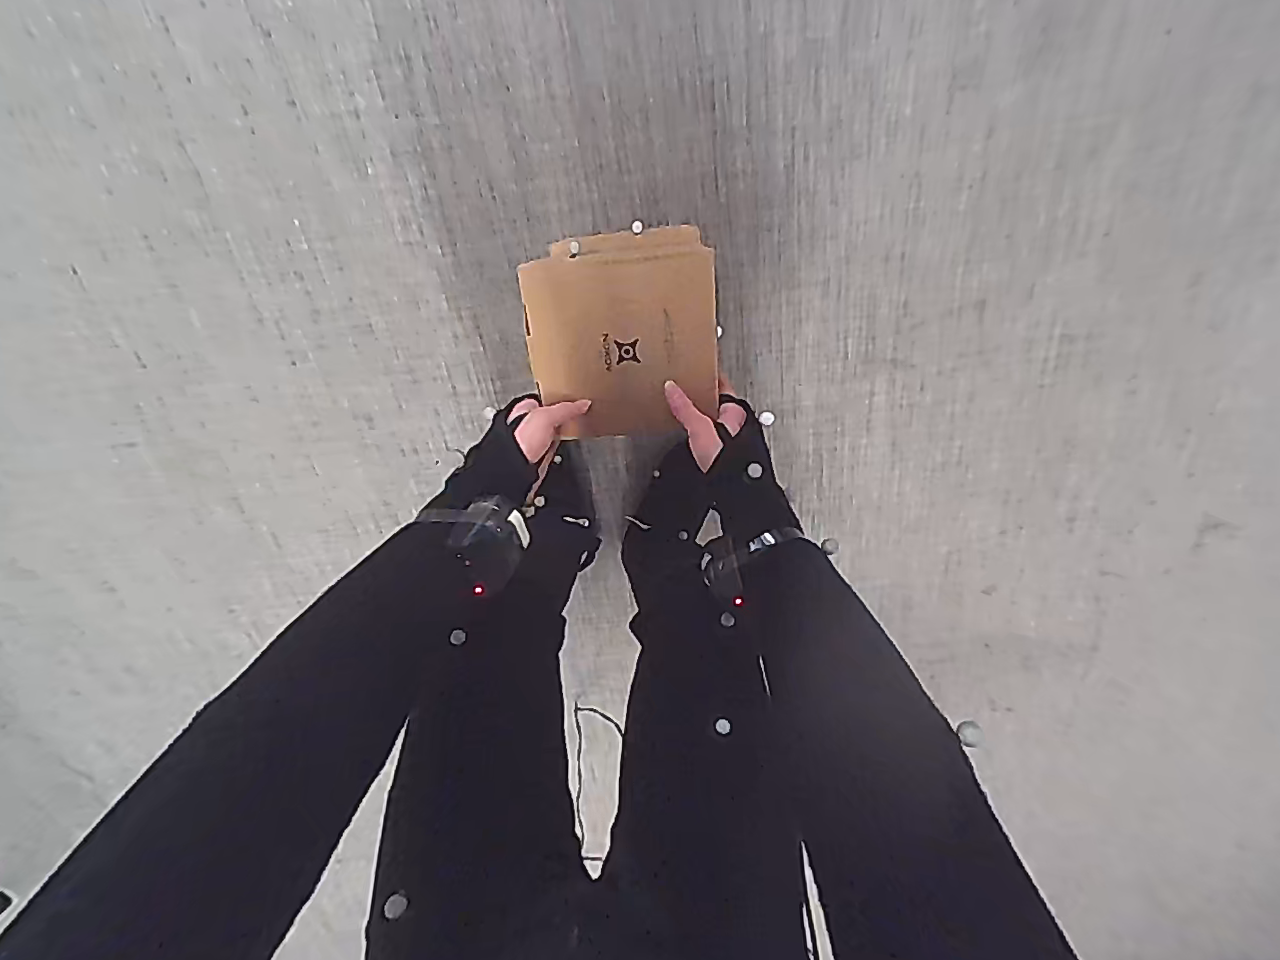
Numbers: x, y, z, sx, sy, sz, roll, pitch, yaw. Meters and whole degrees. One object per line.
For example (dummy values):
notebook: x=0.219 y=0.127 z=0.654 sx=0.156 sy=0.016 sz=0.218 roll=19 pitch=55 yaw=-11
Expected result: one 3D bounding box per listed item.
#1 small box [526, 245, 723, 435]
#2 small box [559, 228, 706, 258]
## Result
small box: x=-0.010 y=-0.157 z=0.583 sx=0.179 sy=0.176 sz=0.168 roll=-5 pitch=115 yaw=1
small box: x=-0.004 y=-0.245 z=0.736 sx=0.179 sy=0.176 sz=0.168 roll=-5 pitch=116 yaw=3
